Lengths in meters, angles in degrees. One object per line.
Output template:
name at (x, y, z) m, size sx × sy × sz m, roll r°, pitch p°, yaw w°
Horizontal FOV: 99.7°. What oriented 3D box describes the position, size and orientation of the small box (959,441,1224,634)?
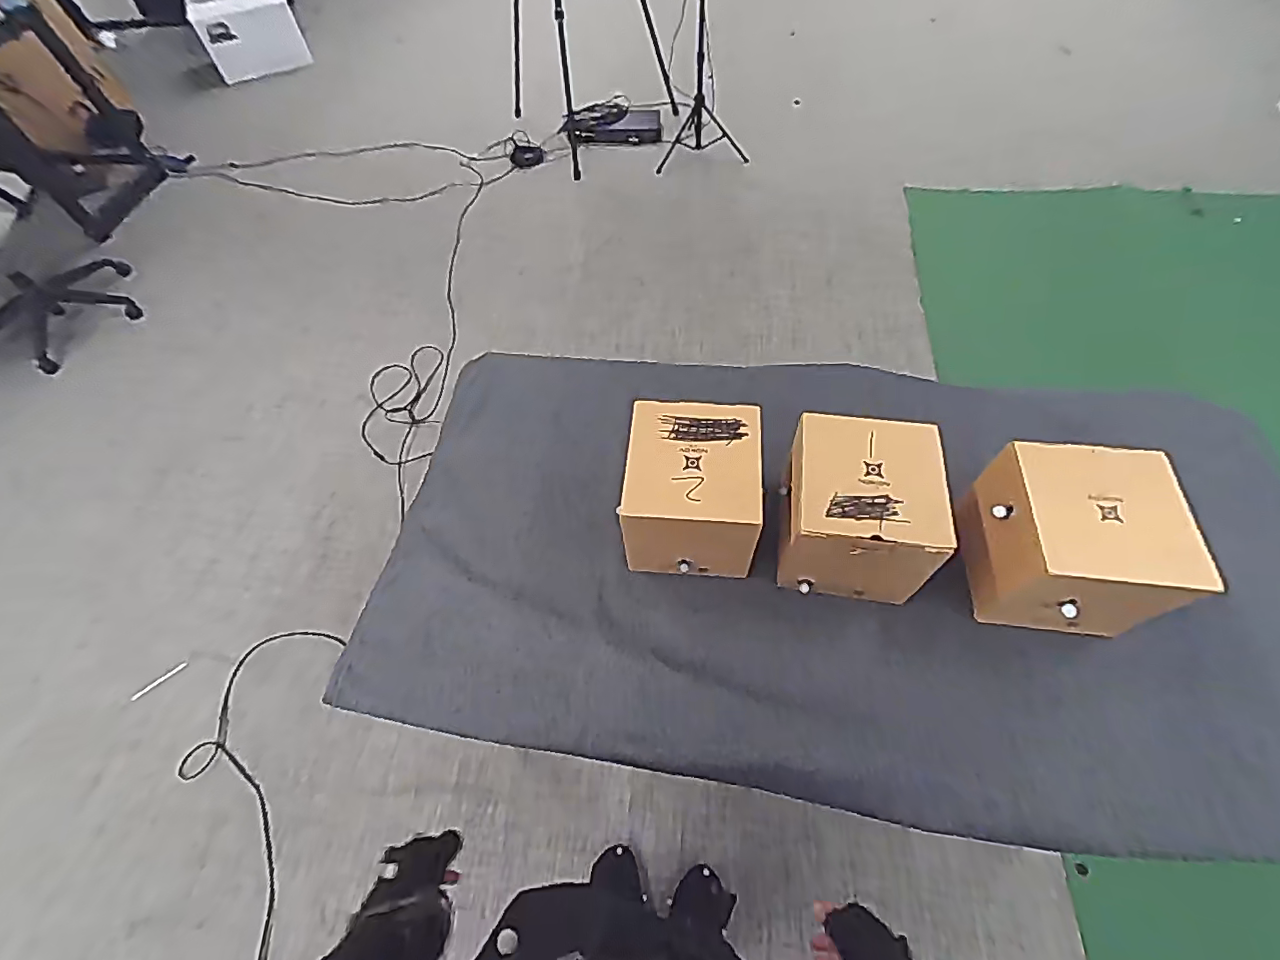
small box at (0.518, 0.075, 0.658) m, size 0.168 × 0.176 × 0.179 m, roll 5°, pitch 58°, yaw 7°
